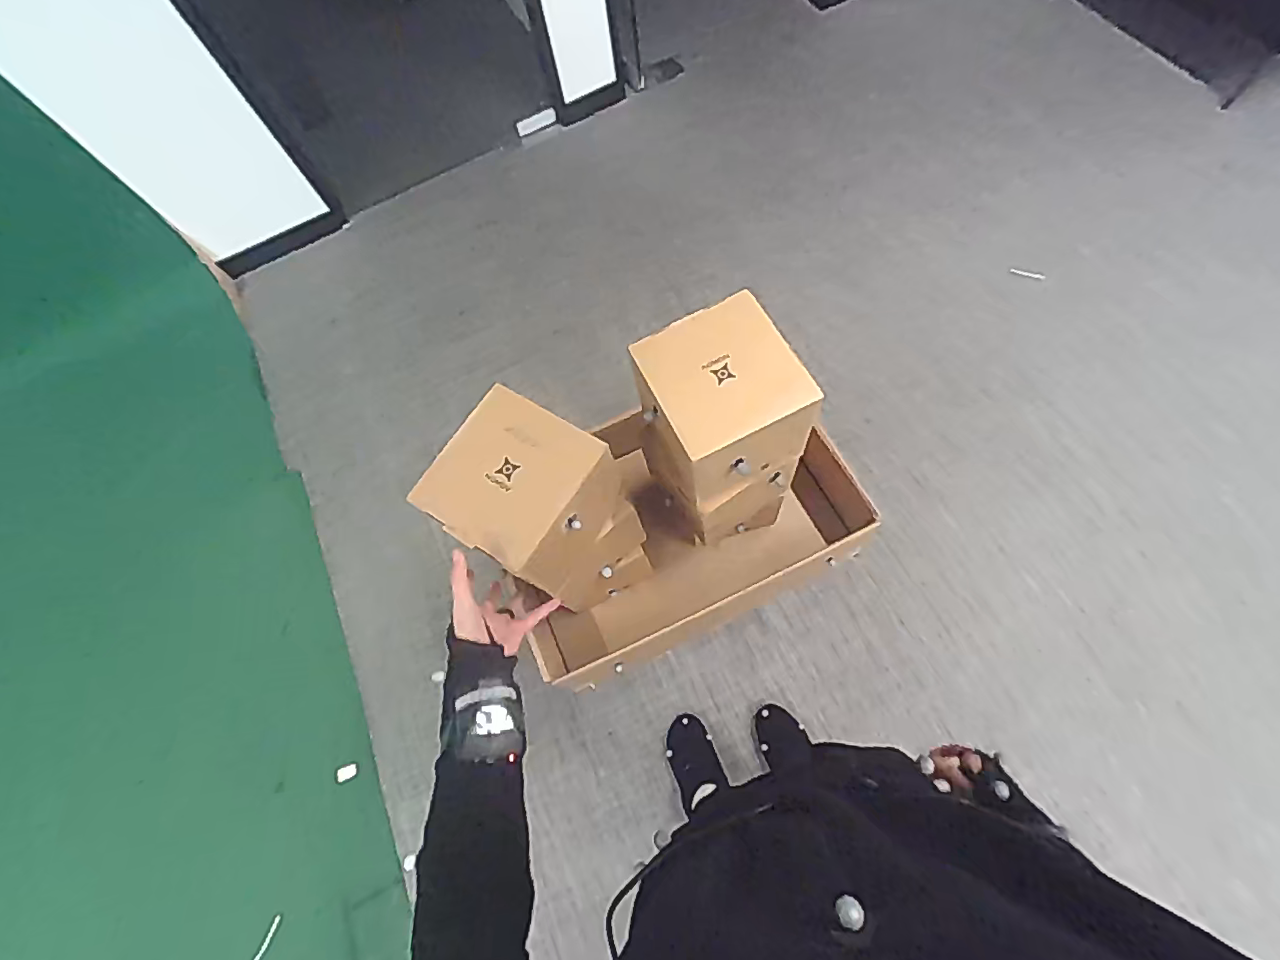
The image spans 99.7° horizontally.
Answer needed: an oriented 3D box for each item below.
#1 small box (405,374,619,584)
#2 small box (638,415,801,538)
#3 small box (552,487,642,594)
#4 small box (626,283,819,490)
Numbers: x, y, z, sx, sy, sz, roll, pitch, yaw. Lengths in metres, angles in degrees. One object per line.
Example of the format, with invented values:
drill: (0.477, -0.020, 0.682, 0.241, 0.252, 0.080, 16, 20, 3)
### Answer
small box: (-0.142, 0.009, 0.674, 0.168, 0.176, 0.179, 31, 76, 16)
small box: (0.118, -0.037, 0.837, 0.179, 0.176, 0.168, -34, 67, -5)
small box: (-0.117, 0.053, 0.830, 0.168, 0.176, 0.179, -42, 71, -9)
small box: (0.102, -0.104, 0.690, 0.168, 0.176, 0.179, -26, 67, -2)
